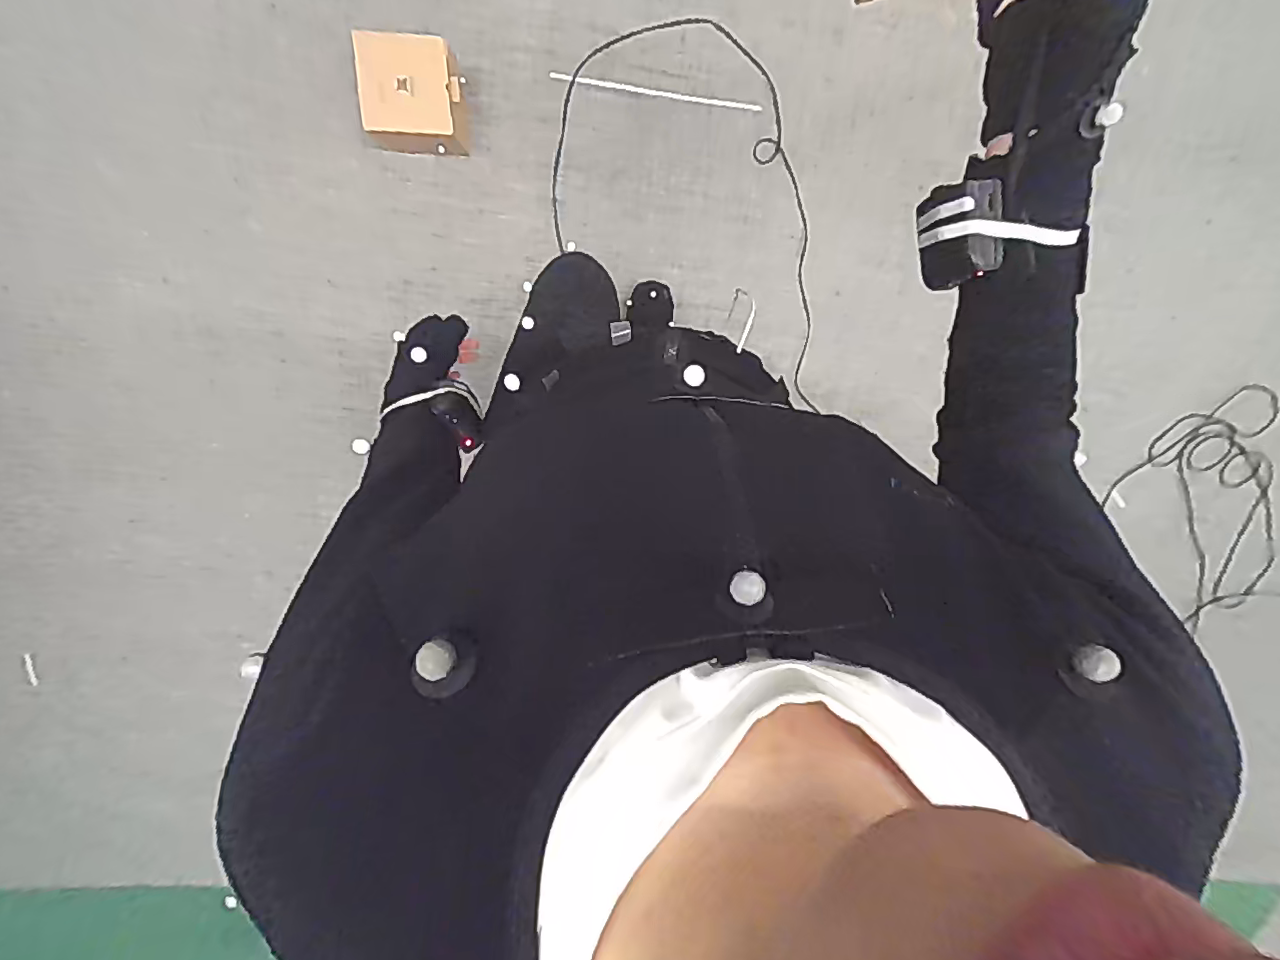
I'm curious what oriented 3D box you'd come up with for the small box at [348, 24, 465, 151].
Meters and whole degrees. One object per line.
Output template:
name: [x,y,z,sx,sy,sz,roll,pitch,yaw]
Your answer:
small box: [-0.460,-0.784,1.099,0.179,0.176,0.168,0,109,-5]
